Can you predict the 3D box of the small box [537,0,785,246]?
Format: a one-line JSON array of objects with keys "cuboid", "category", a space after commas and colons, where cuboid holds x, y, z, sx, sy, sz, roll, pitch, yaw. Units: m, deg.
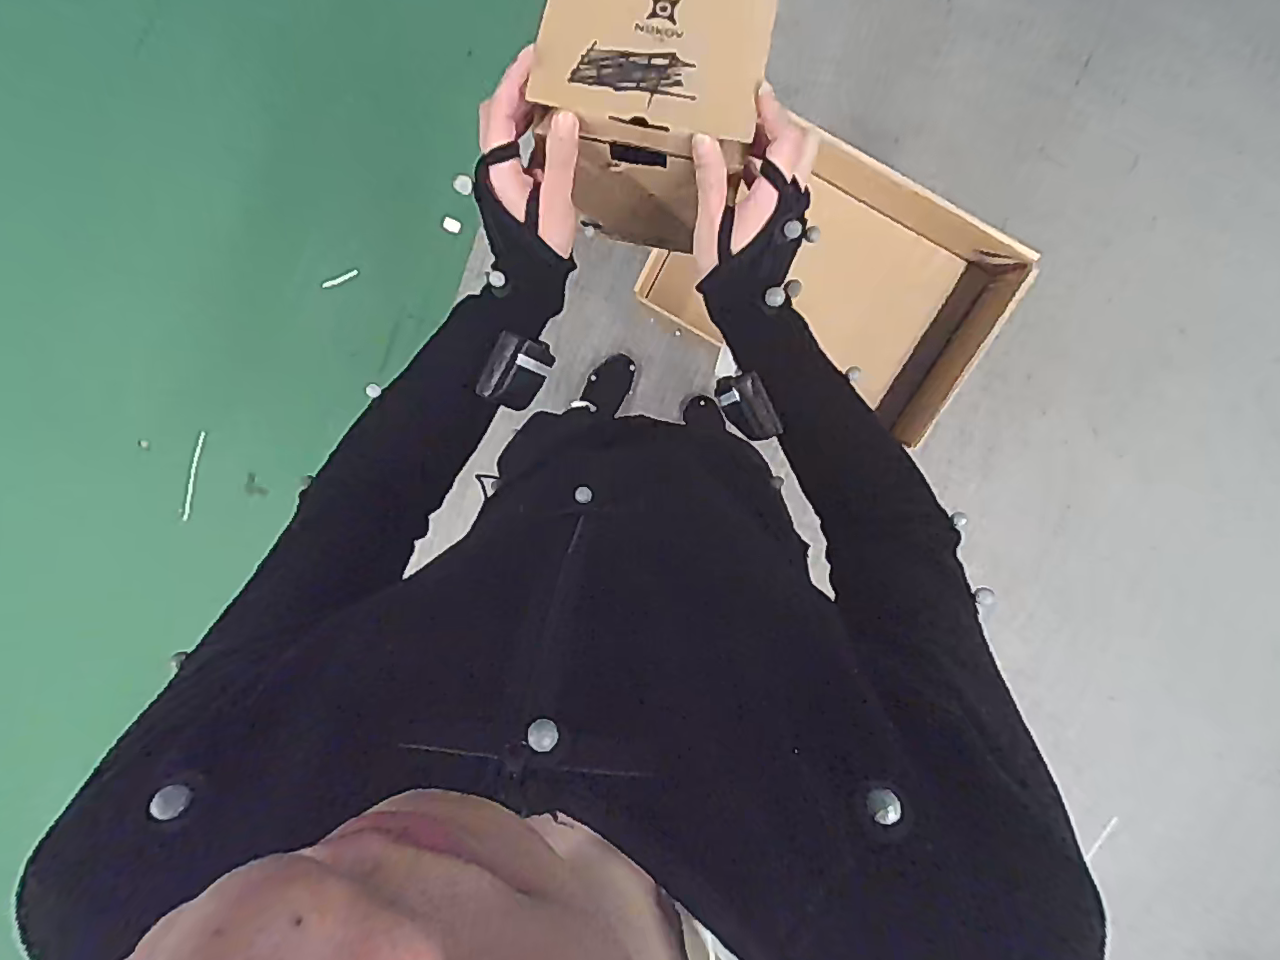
[{"cuboid": [0.020, -0.330, 0.470, 0.168, 0.176, 0.179, 10, 90, 0], "category": "small box"}]
